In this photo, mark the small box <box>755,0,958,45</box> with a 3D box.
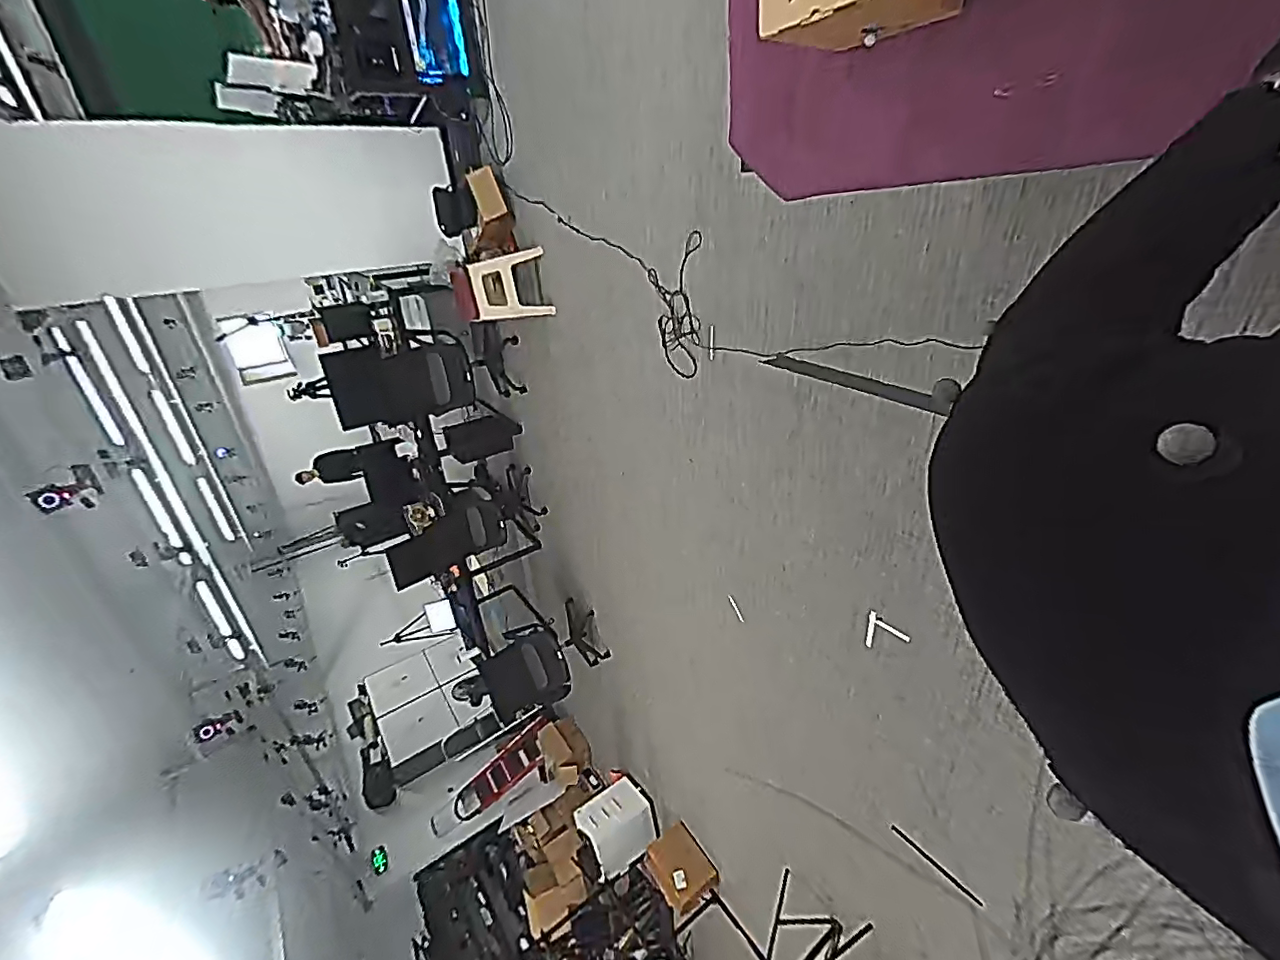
[{"bbox_3d":[0.248,-0.616,0.598,0.168,0.176,0.179,28,132,48],"label":"small box"}]
